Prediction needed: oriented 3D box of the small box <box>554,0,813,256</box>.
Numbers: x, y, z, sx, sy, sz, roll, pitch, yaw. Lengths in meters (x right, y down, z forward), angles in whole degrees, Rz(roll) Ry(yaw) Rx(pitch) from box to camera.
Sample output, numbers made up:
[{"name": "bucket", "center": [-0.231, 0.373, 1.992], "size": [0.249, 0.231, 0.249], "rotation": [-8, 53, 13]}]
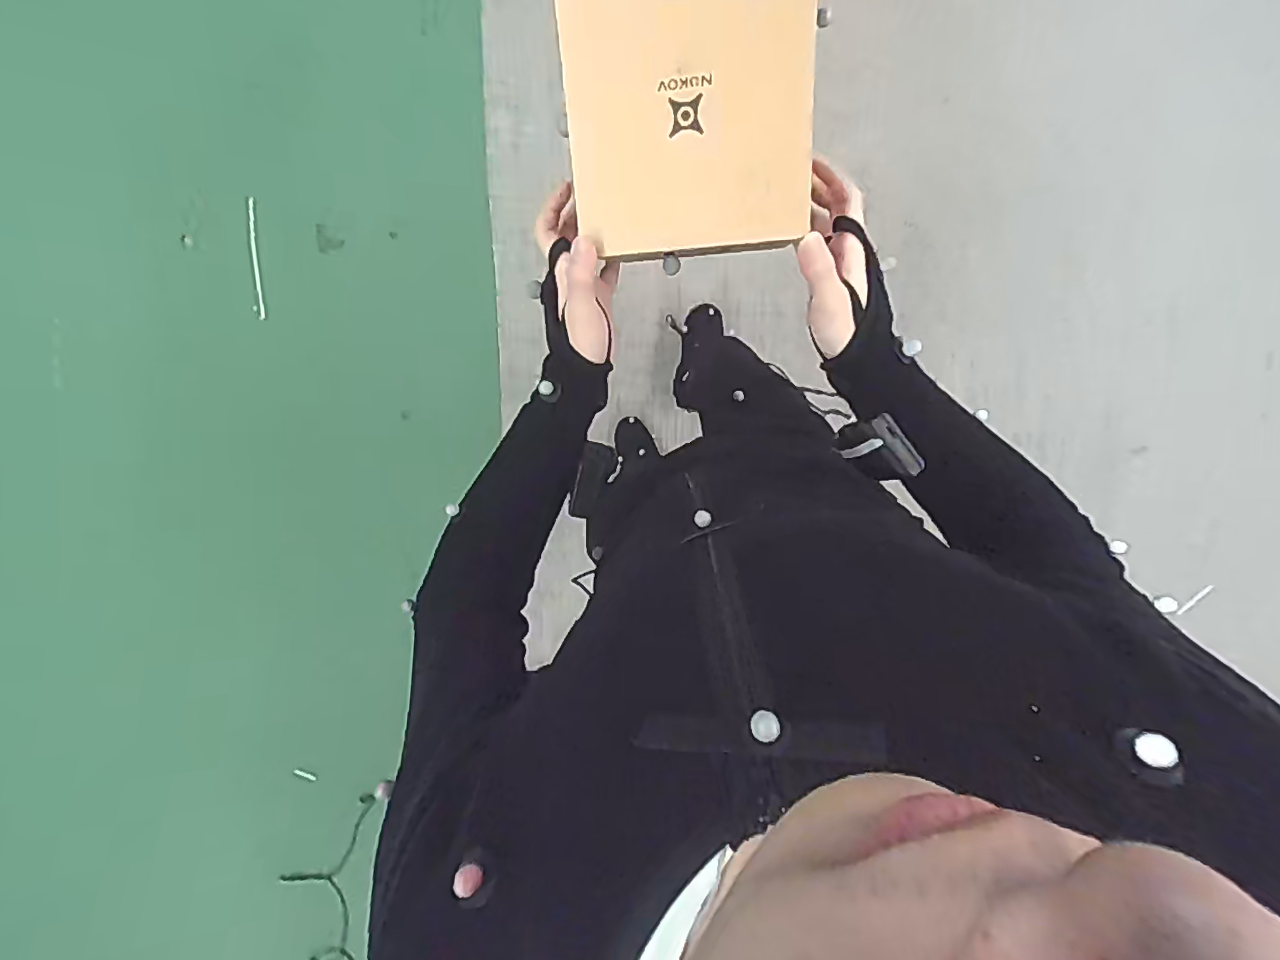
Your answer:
[{"name": "small box", "center": [0.042, -0.278, 0.431], "size": [0.168, 0.176, 0.179], "rotation": [-1, 108, 10]}]
